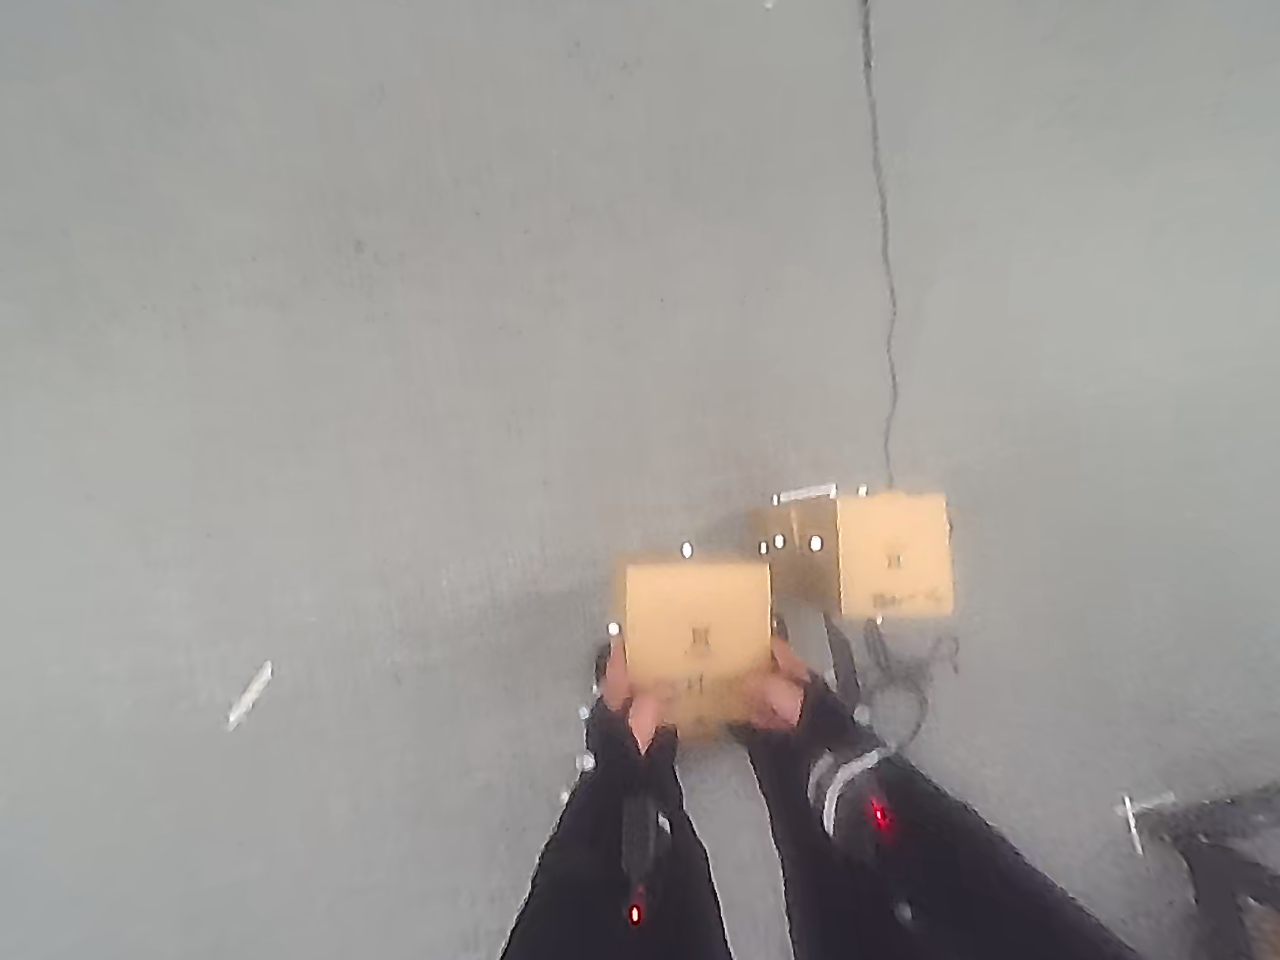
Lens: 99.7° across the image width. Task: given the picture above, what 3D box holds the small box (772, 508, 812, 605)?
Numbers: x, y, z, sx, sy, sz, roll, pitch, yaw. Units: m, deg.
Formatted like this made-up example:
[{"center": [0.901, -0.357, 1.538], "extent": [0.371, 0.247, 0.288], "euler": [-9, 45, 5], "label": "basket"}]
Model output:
[{"center": [0.359, 0.132, 1.020], "extent": [0.179, 0.176, 0.168], "euler": [-9, 86, -3], "label": "small box"}]

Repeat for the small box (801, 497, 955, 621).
[{"center": [0.363, 0.121, 0.856], "extent": [0.168, 0.176, 0.179], "euler": [-1, 85, -2], "label": "small box"}]

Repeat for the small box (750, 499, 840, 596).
[{"center": [0.351, 0.144, 1.182], "extent": [0.168, 0.176, 0.179], "euler": [-10, 86, -3], "label": "small box"}]

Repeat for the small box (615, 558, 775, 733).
[{"center": [0.058, 0.190, 0.670], "extent": [0.168, 0.176, 0.179], "euler": [1, 87, -8], "label": "small box"}]
